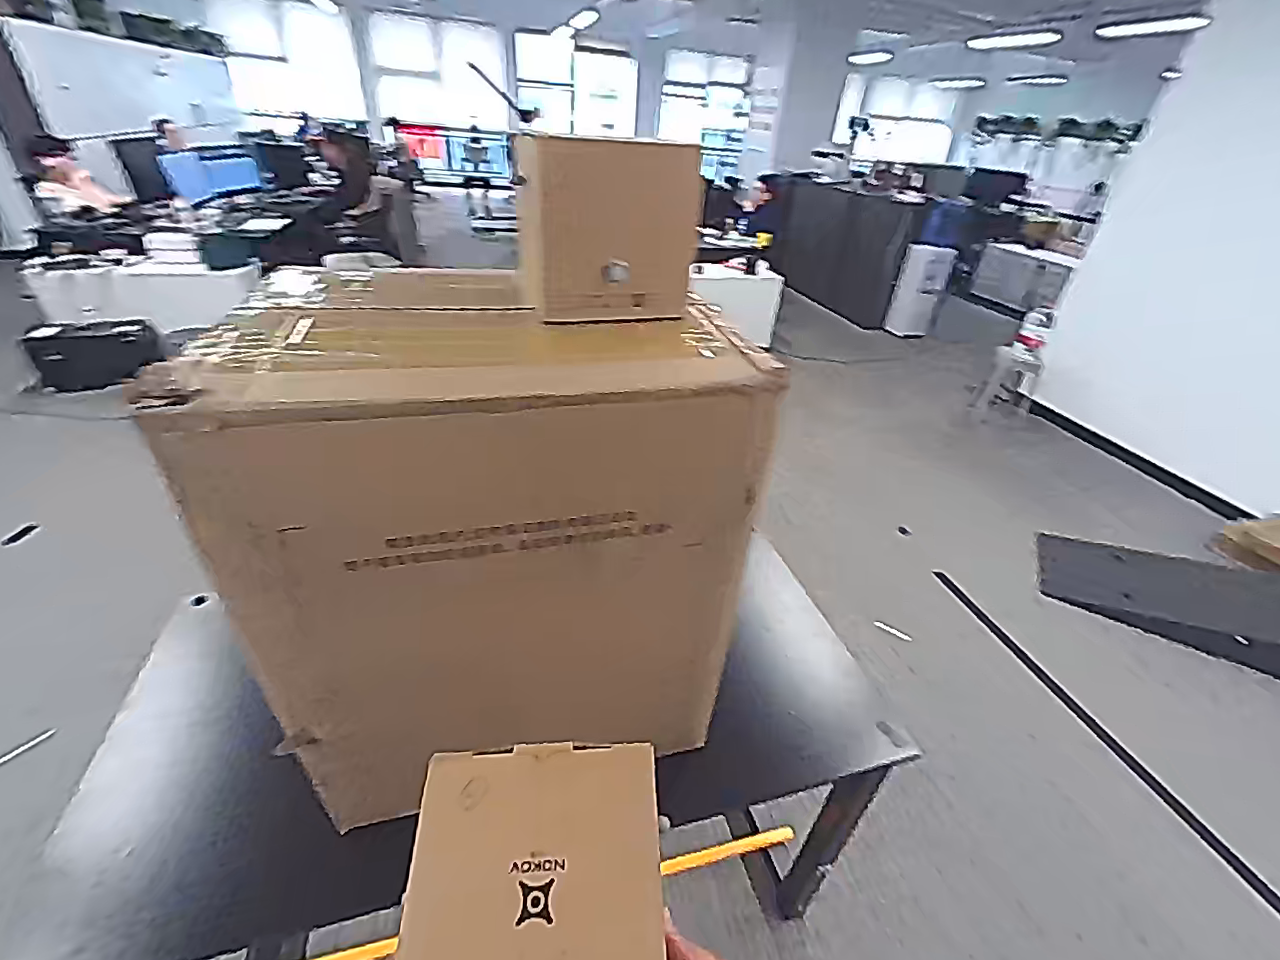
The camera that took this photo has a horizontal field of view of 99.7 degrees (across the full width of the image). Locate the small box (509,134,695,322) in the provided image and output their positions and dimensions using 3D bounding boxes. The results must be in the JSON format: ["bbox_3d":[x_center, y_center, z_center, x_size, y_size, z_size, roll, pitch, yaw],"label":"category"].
[{"bbox_3d":[-0.052,-0.285,0.611,0.168,0.176,0.179,-8,35,-16],"label":"small box"}]

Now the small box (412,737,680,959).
[{"bbox_3d":[-0.062,0.315,0.415,0.168,0.176,0.179,-1,51,-3],"label":"small box"}]
